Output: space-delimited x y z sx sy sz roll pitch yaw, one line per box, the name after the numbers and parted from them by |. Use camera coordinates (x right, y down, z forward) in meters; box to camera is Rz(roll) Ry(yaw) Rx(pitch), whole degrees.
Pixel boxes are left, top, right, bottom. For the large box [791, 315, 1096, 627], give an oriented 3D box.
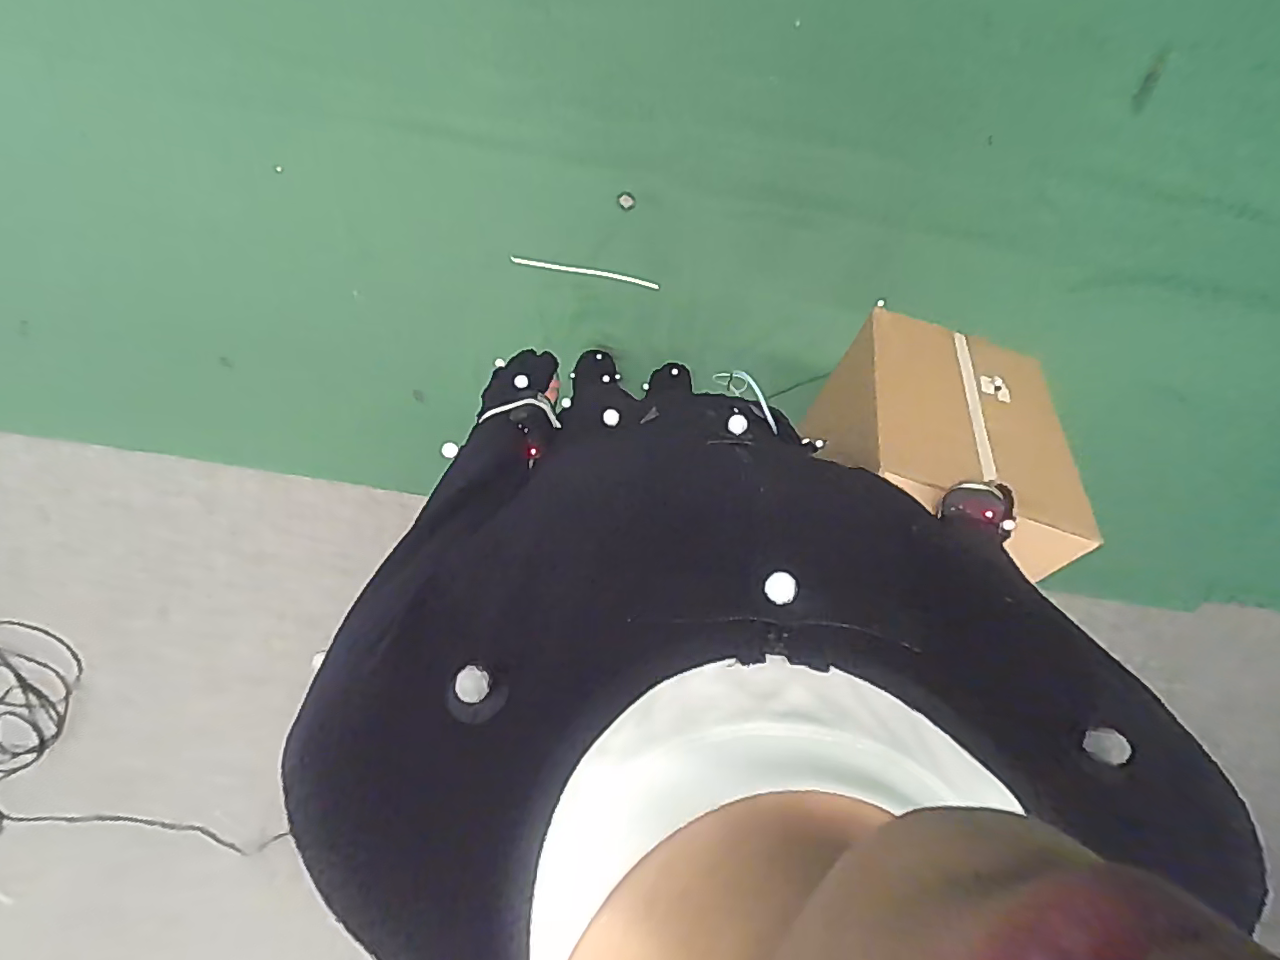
0.478 -0.016 0.956 0.320 0.408 0.320 19 140 -1 | large box
